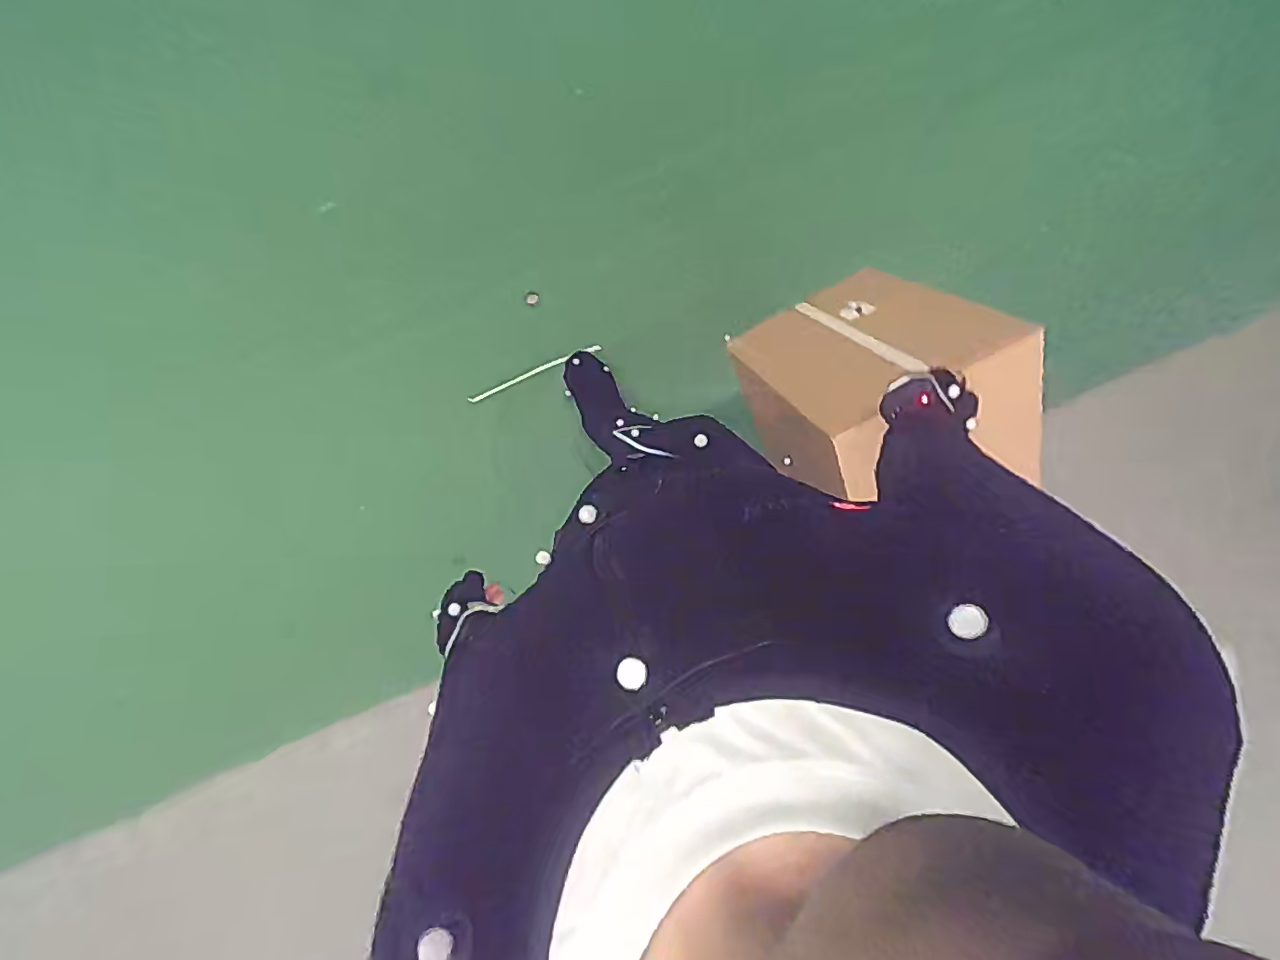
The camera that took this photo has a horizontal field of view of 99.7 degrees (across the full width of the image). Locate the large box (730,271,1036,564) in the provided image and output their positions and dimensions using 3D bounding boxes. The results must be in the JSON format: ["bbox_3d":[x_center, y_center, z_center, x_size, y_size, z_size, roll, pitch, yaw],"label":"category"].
[{"bbox_3d":[0.415,-0.129,0.976,0.320,0.408,0.320,-26,123,2],"label":"large box"}]
